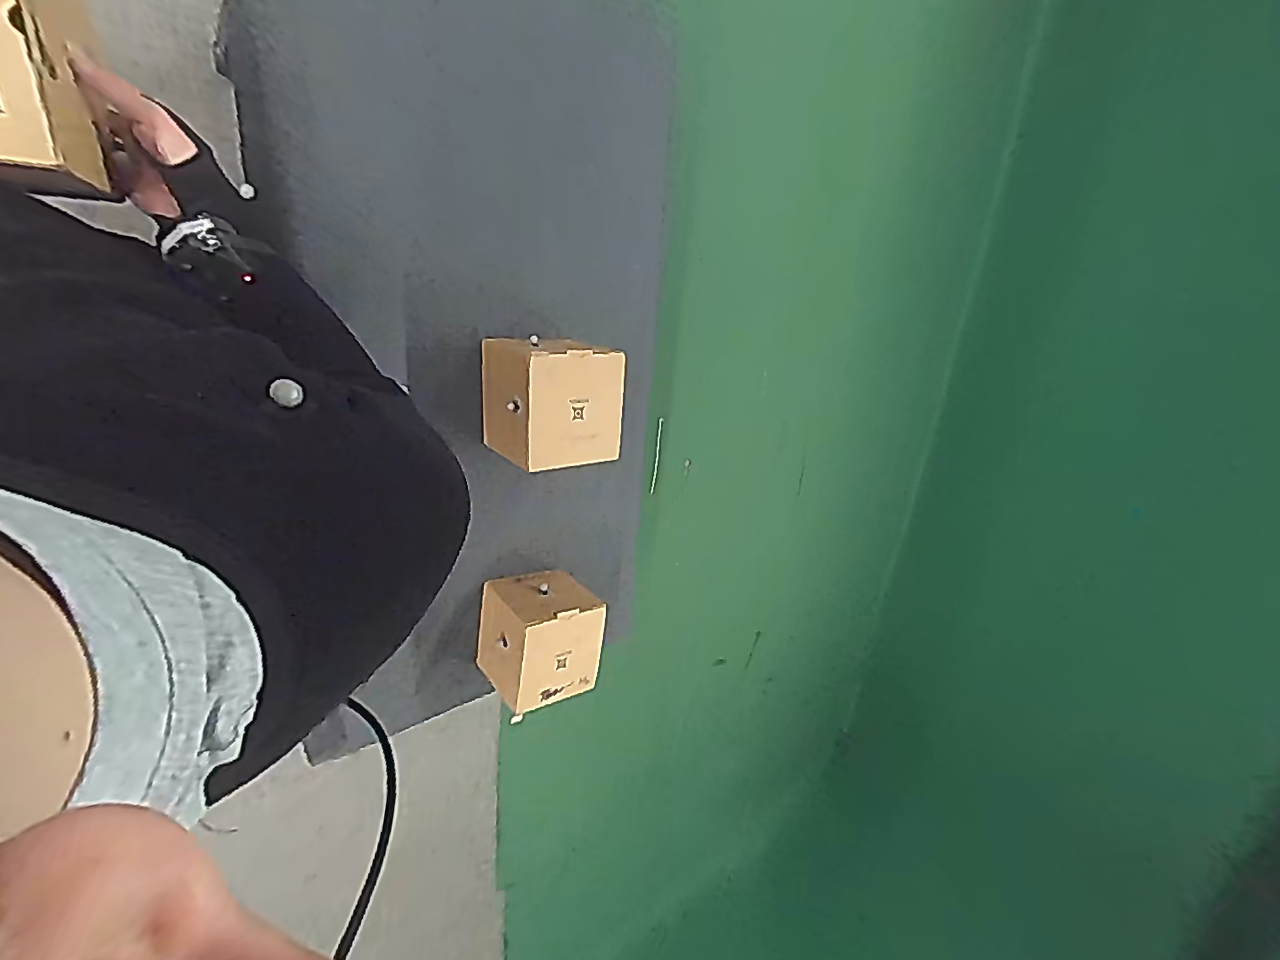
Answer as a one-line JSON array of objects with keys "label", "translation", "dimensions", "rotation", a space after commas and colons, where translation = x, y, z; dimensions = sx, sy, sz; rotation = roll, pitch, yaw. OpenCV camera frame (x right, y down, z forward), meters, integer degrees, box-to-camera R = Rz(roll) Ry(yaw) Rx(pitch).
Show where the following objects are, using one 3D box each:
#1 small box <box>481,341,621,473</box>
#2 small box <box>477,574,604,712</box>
[{"label": "small box", "translation": [-0.149, -0.127, 0.874], "dimensions": [0.168, 0.176, 0.179], "rotation": [-11, 115, -36]}, {"label": "small box", "translation": [-0.190, 0.286, 1.005], "dimensions": [0.168, 0.176, 0.179], "rotation": [-3, 109, -40]}]
